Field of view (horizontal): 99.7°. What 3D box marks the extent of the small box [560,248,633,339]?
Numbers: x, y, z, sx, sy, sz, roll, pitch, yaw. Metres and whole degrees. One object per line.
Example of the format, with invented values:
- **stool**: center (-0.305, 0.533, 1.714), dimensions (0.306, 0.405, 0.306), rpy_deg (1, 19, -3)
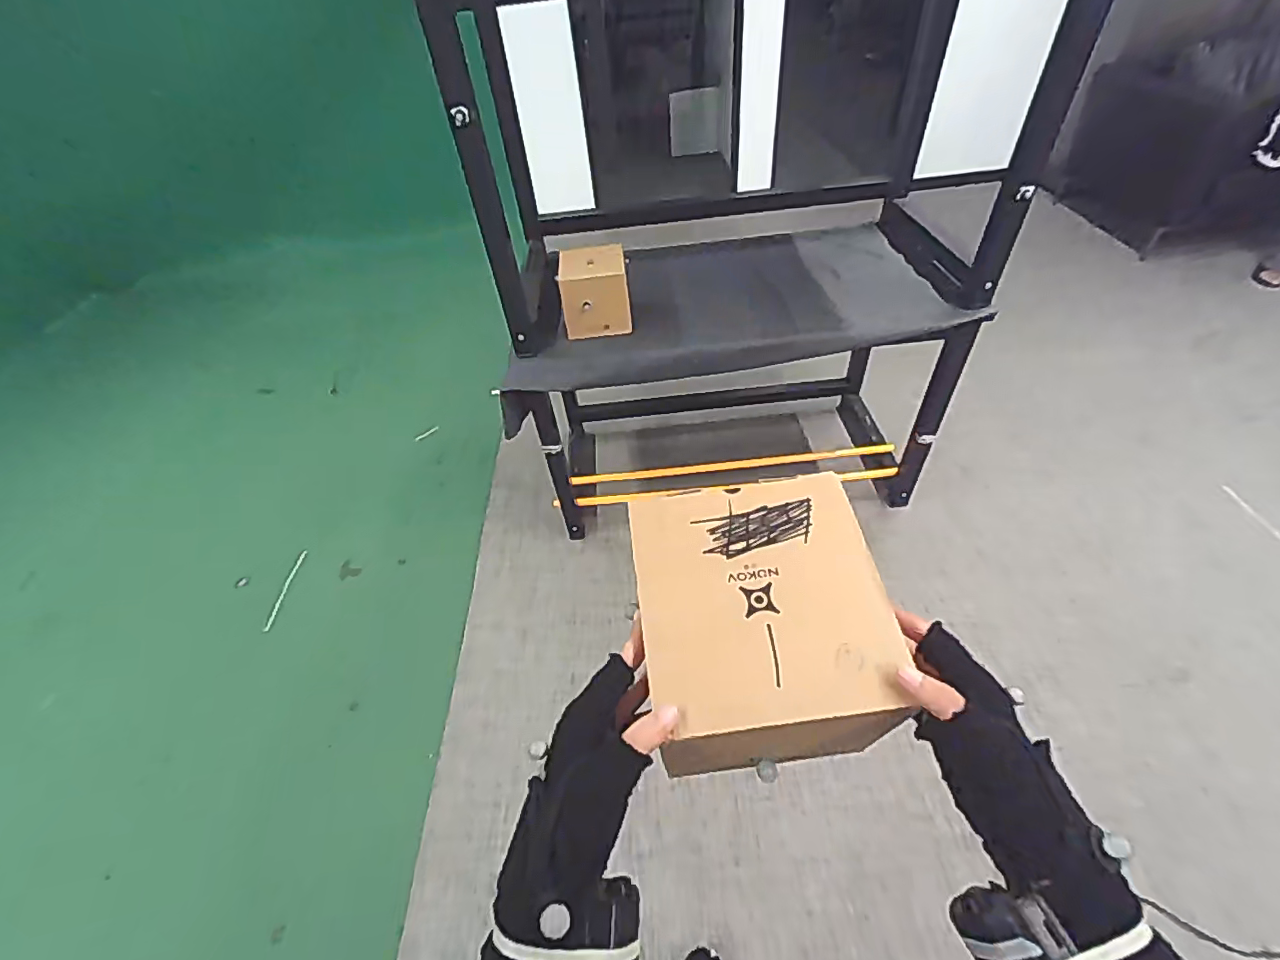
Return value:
- **small box**: center (-0.111, -0.480, 1.413), dimensions (0.168, 0.176, 0.179), rpy_deg (-7, 45, 0)
